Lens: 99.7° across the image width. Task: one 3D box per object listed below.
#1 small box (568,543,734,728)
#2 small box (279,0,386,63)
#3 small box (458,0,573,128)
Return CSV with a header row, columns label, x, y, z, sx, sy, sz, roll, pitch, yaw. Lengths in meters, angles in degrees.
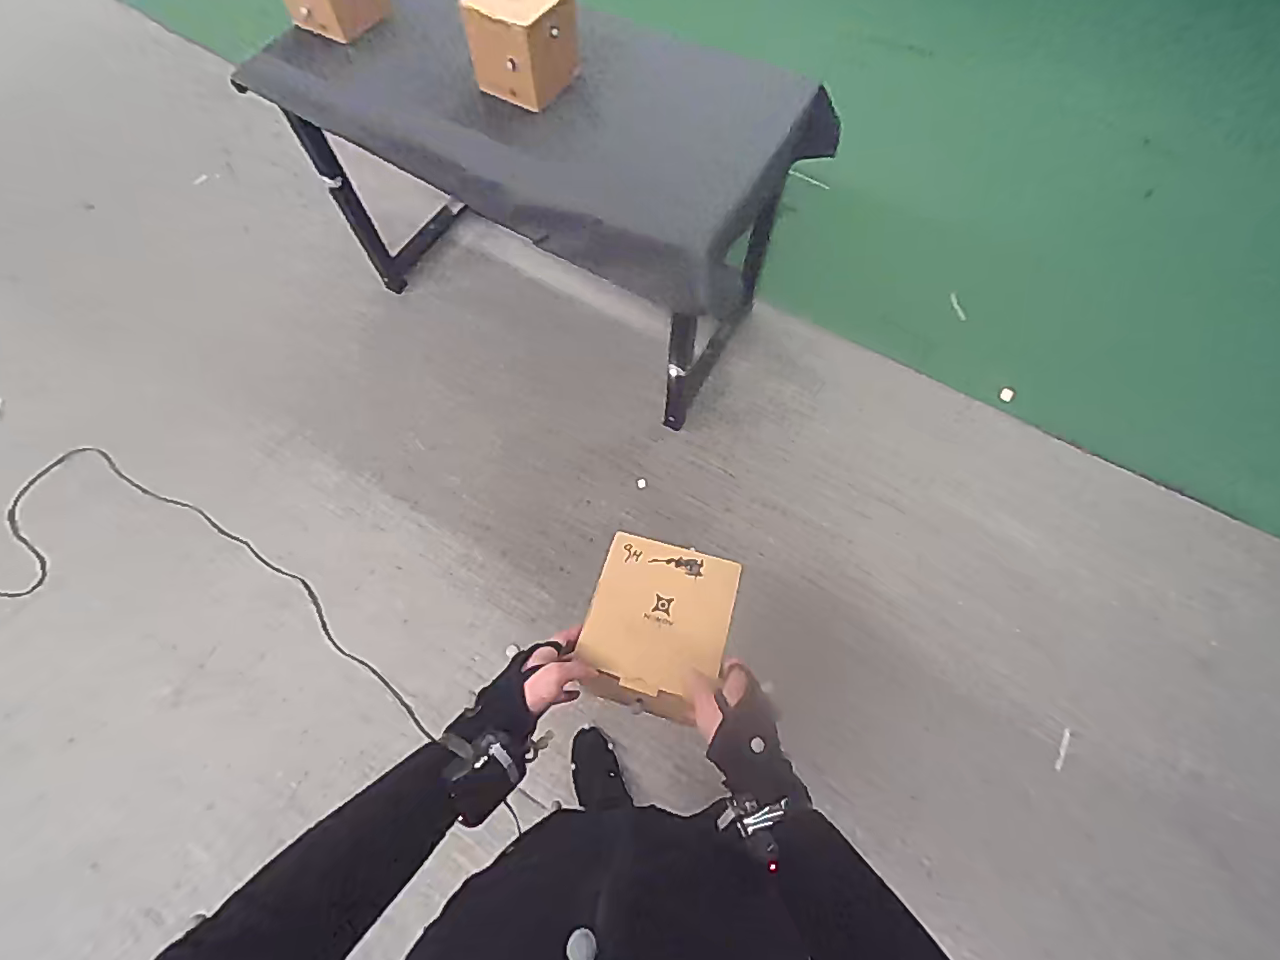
label,x,y,z,sx,sy,sz,roll,pitch,yaw
small box,0.019,0.211,0.712,0.168,0.176,0.179,13,60,8
small box,-0.734,-1.139,1.277,0.168,0.176,0.179,27,68,11
small box,-0.260,-0.918,1.184,0.168,0.176,0.179,29,68,11
